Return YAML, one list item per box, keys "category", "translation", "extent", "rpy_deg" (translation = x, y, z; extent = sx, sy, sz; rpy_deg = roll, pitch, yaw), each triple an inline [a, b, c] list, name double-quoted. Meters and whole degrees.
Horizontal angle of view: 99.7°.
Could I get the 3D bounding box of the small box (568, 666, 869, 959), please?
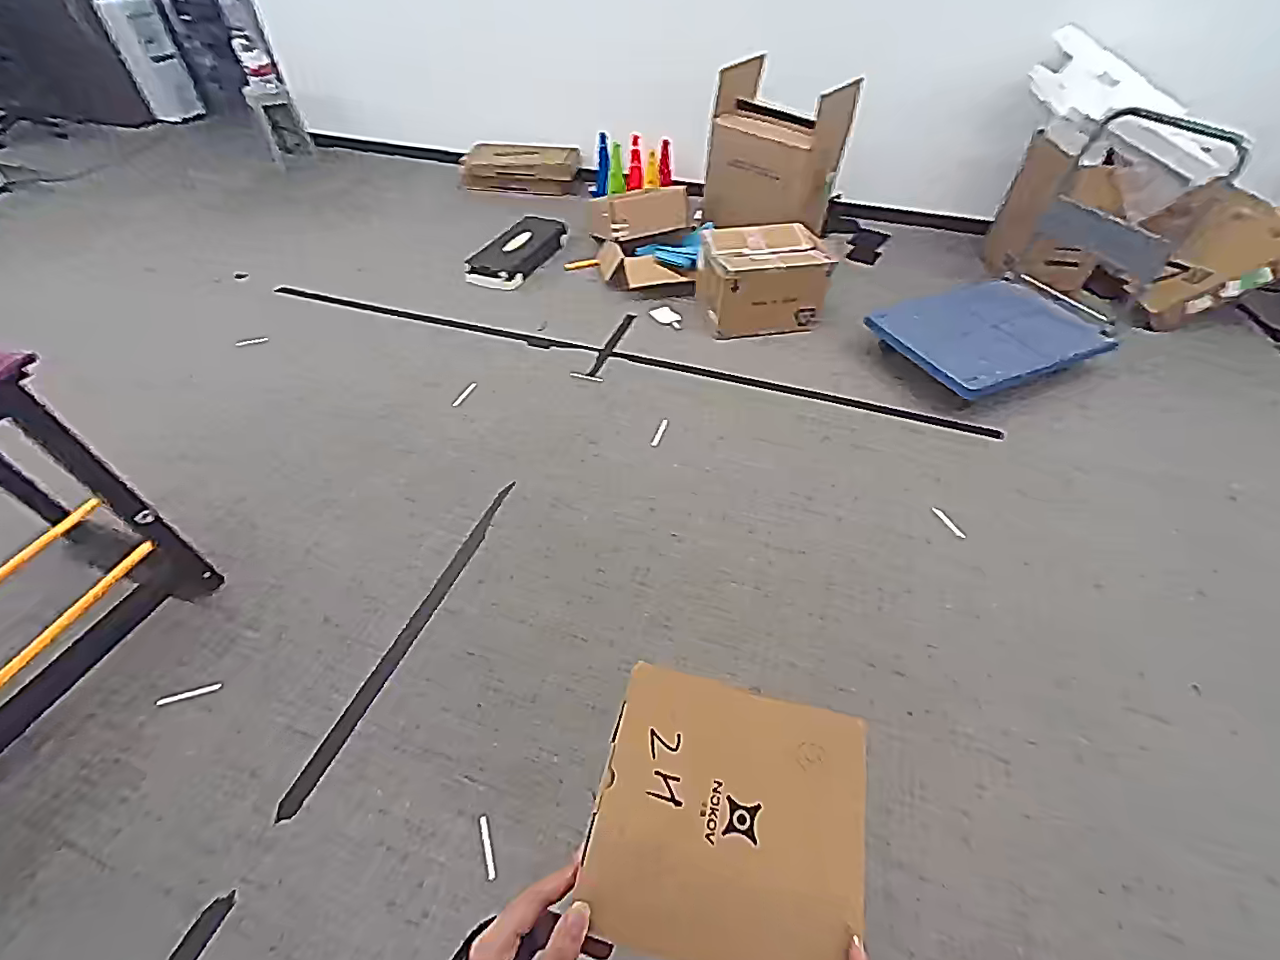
- category: "small box"
  translation: [0.061, 0.268, 0.419]
  extent: [0.179, 0.176, 0.168]
  rpy_deg: [11, 54, 9]
